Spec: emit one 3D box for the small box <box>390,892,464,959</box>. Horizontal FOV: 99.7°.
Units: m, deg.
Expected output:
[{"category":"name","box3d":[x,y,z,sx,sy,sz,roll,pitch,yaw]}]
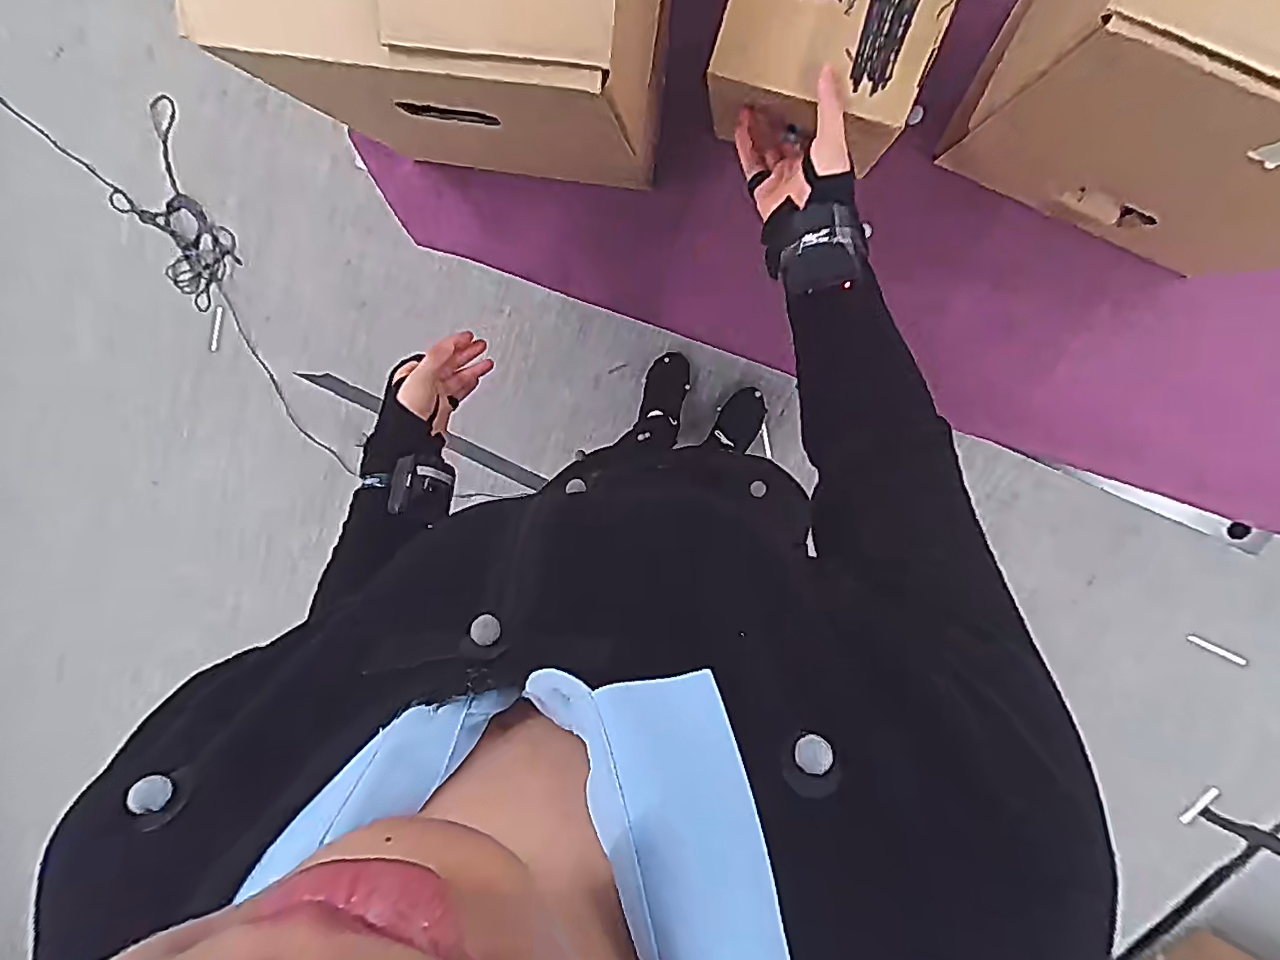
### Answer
[{"category":"small box","box3d":[-0.717,1.550,1.819,0.168,0.176,0.179,22,107,3]}]
